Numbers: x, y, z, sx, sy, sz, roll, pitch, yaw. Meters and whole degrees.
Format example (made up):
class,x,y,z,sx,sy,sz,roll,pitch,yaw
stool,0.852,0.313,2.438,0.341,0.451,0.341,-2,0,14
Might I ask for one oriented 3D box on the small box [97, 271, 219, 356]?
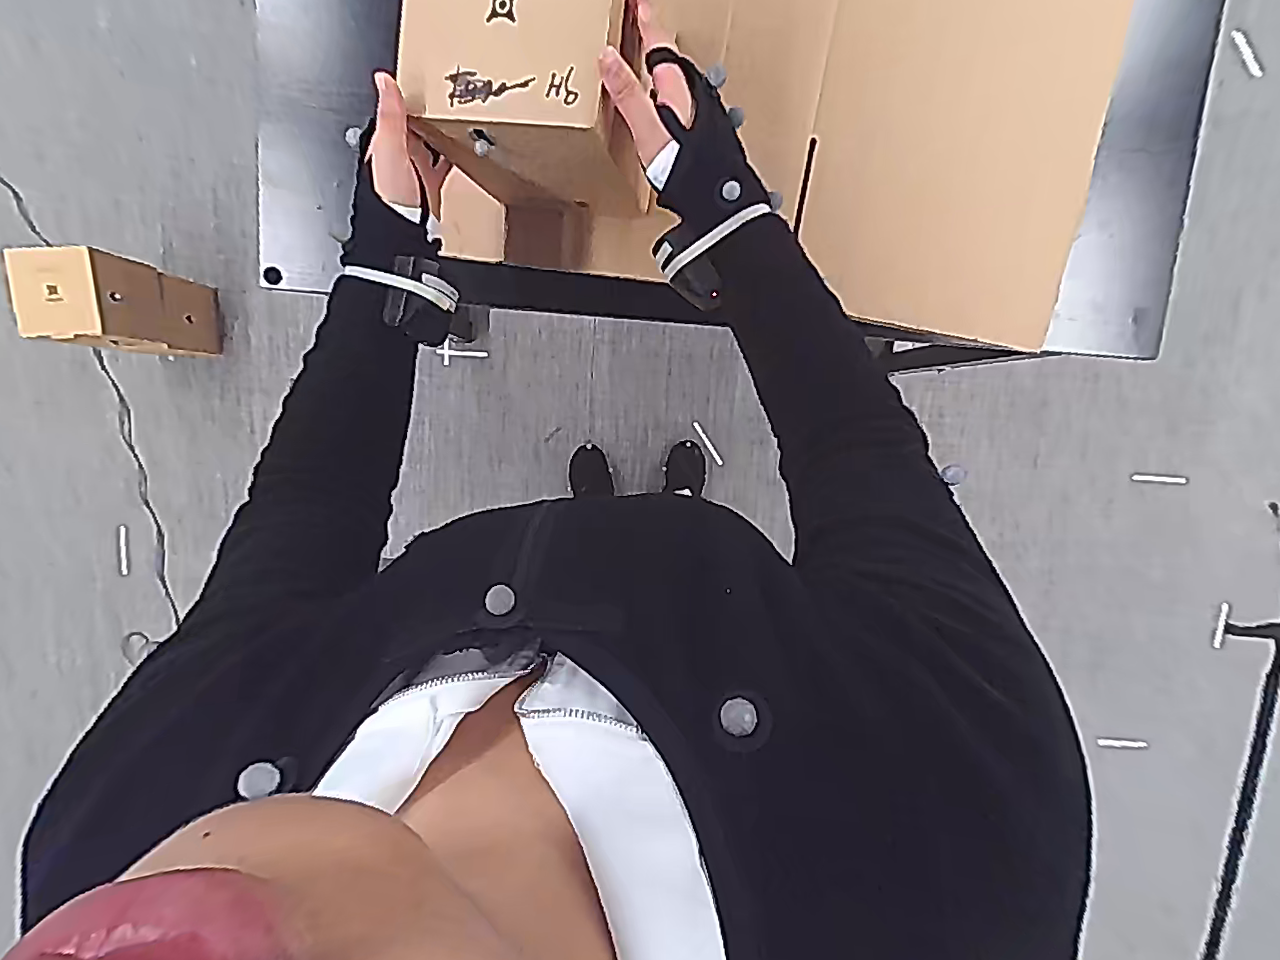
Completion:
class,x,y,z,sx,sy,sz,roll,pitch,yaw
small box,-1.177,-0.402,1.321,0.168,0.176,0.179,0,98,-1

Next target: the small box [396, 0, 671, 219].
class,x,y,z,sx,sy,sz,roll,pitch,yaw
small box,-0.074,-0.352,0.462,0.168,0.176,0.179,11,97,12

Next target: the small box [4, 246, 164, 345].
class,x,y,z,sx,sy,sz,roll,pitch,yaw
small box,-1.174,-0.386,1.159,0.168,0.176,0.179,-3,97,-2
